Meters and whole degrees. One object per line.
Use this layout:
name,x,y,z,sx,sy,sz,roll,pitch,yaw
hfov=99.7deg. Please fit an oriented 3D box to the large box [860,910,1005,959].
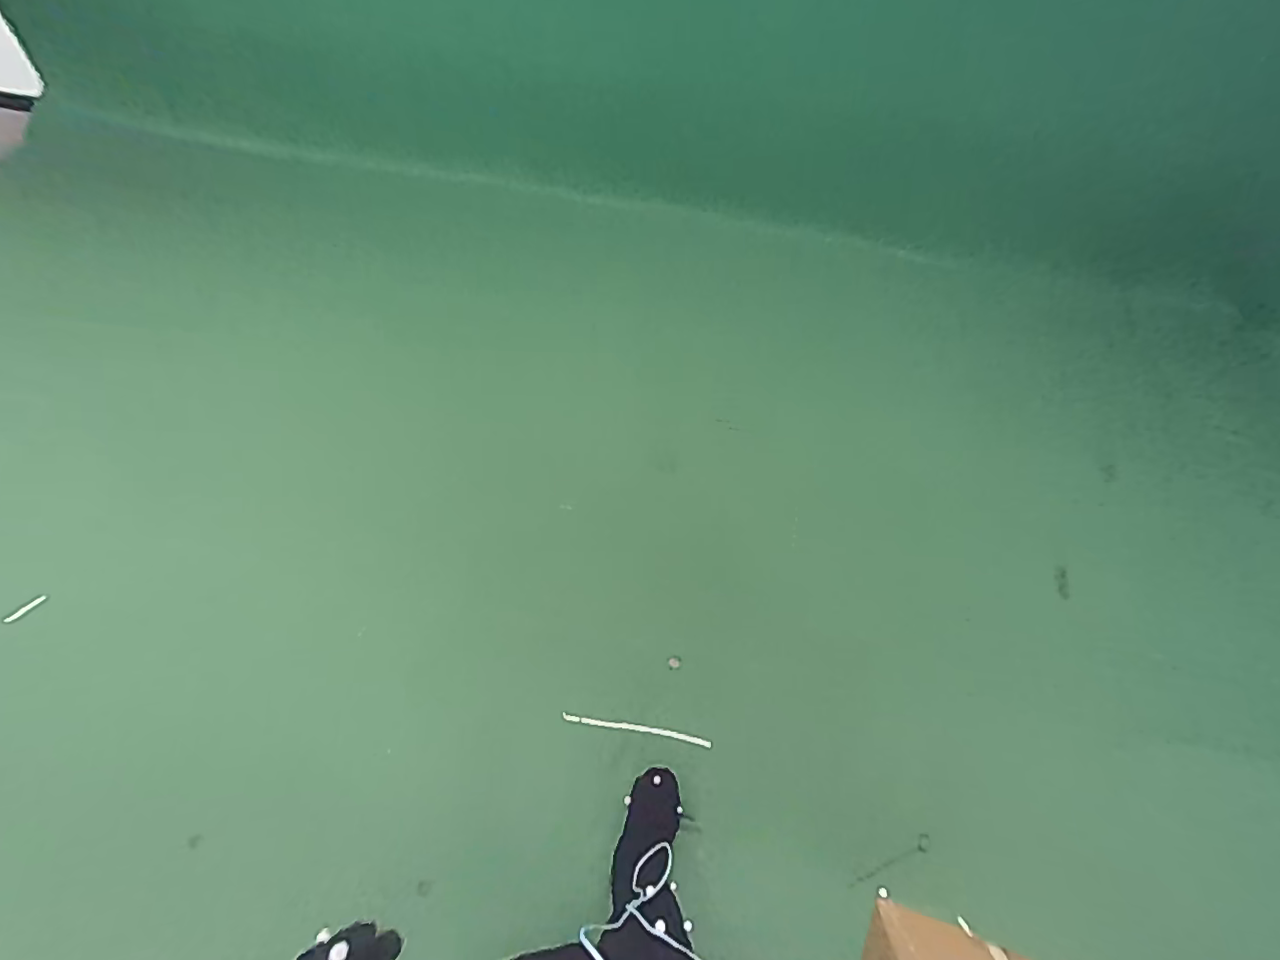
large box,0.408,0.791,0.562,0.320,0.408,0.320,17,86,12
